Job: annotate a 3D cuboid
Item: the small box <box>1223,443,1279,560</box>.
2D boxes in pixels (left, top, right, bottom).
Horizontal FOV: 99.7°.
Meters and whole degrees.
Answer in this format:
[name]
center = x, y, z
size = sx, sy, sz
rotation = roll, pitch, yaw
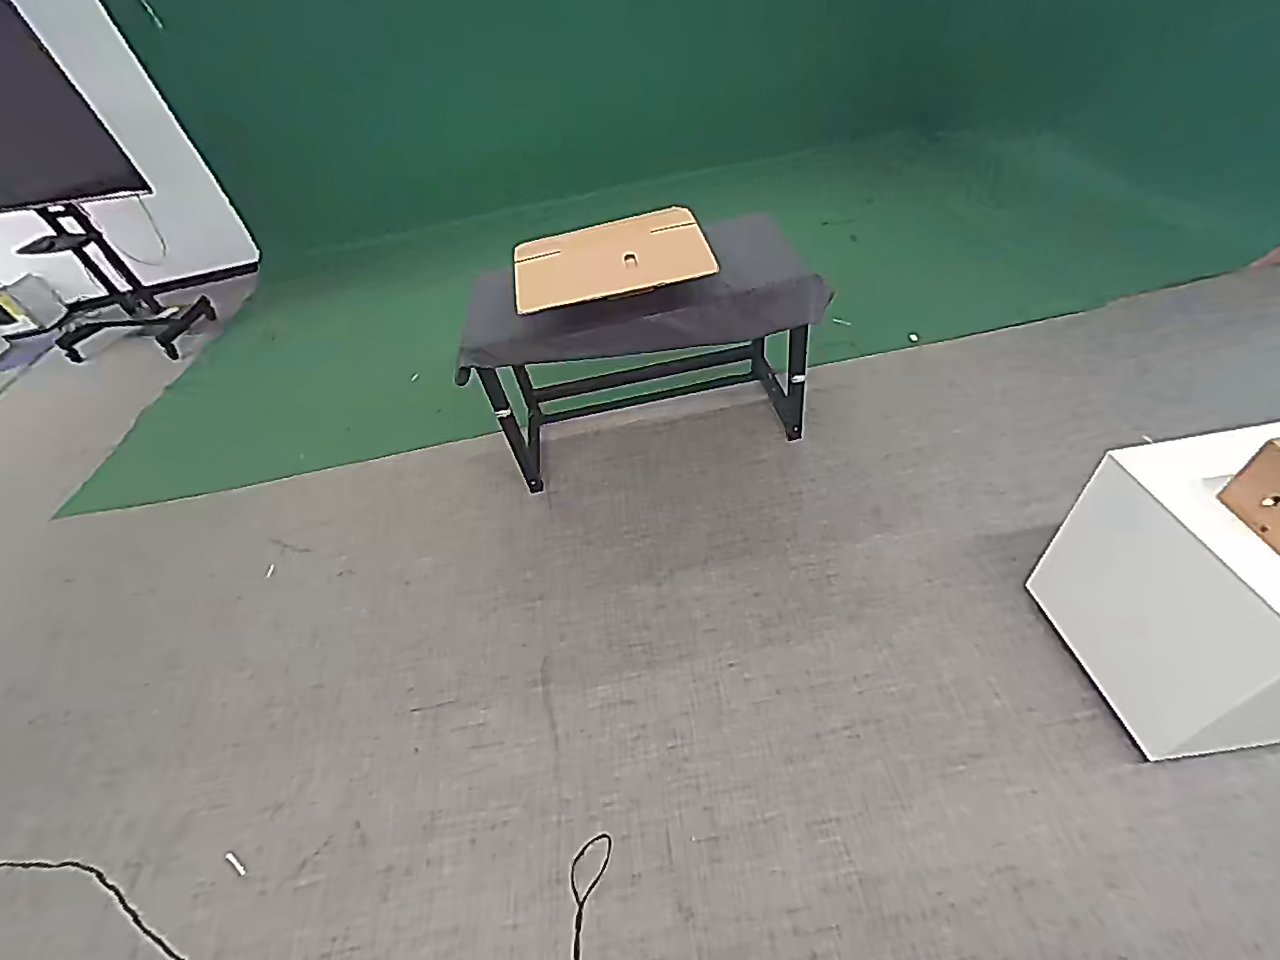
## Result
[small box]
center = 1.272, 0.037, 1.013
size = 0.179, 0.176, 0.168
rotation = -9, 44, 2
